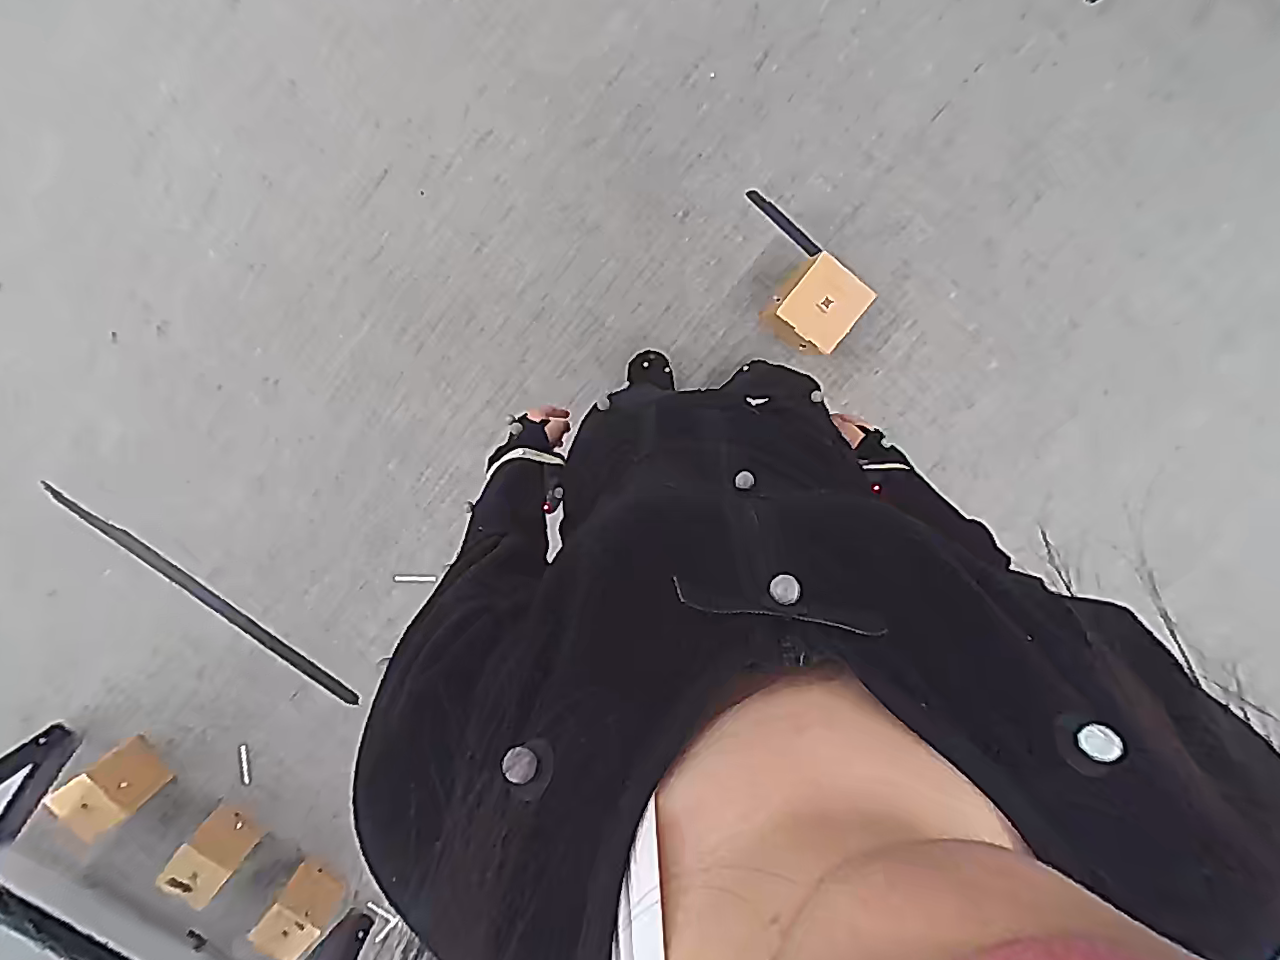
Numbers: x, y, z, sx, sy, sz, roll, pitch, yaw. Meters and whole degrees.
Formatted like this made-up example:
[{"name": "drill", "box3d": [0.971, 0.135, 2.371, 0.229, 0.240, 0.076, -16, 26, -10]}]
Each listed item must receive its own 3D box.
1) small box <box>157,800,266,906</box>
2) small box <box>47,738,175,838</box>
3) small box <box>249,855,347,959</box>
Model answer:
[{"name": "small box", "box3d": [-1.313, 1.148, 1.672, 0.168, 0.176, 0.179, 39, 99, -9]}, {"name": "small box", "box3d": [-1.573, 0.909, 1.619, 0.168, 0.176, 0.179, -32, 102, 6]}, {"name": "small box", "box3d": [-1.079, 1.356, 1.722, 0.168, 0.176, 0.179, 41, 100, -9]}]
